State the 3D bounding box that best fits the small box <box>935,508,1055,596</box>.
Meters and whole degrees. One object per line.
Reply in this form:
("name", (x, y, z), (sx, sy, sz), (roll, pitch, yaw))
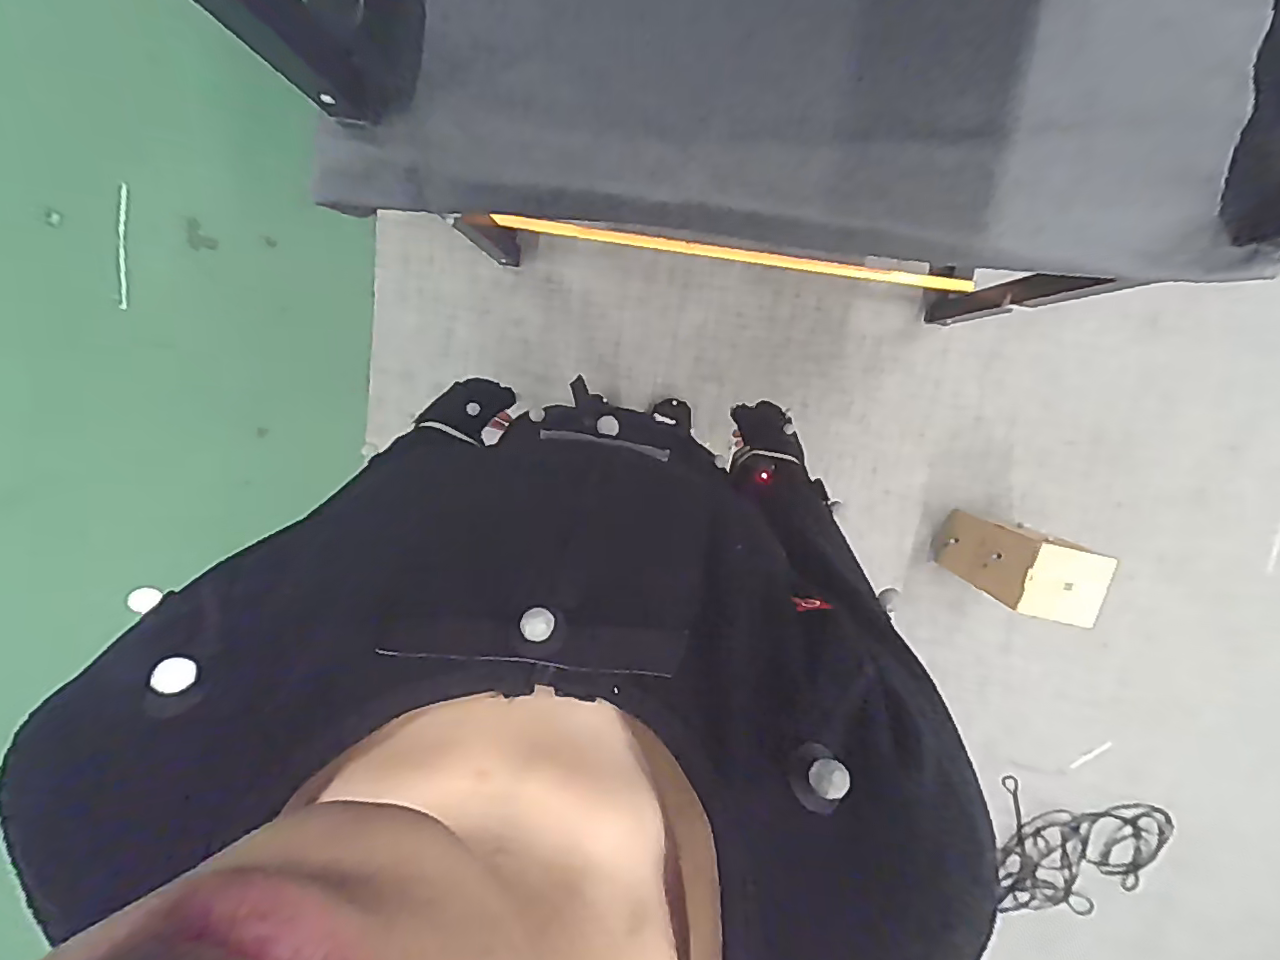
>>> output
("small box", (0.925, 0.182, 1.423), (0.179, 0.176, 0.168), (14, 100, -1))
